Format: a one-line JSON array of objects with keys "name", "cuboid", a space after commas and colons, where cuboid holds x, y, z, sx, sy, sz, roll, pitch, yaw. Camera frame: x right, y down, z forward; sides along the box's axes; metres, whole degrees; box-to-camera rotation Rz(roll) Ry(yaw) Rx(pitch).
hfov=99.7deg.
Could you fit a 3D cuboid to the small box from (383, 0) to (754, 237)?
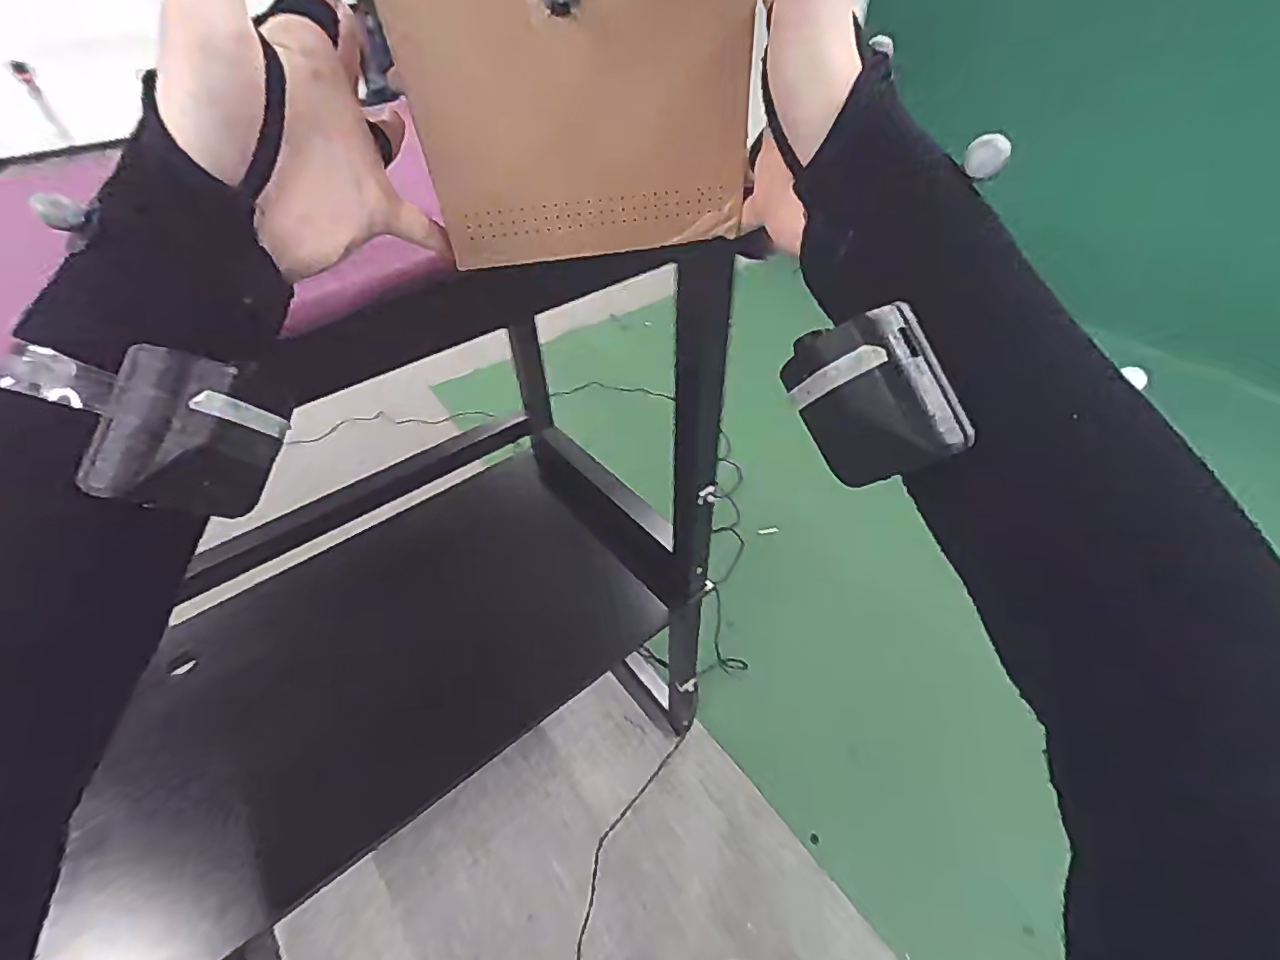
[{"name": "small box", "cuboid": [-0.035, -0.253, 0.304, 0.179, 0.176, 0.168, -5, 48, -1]}]
